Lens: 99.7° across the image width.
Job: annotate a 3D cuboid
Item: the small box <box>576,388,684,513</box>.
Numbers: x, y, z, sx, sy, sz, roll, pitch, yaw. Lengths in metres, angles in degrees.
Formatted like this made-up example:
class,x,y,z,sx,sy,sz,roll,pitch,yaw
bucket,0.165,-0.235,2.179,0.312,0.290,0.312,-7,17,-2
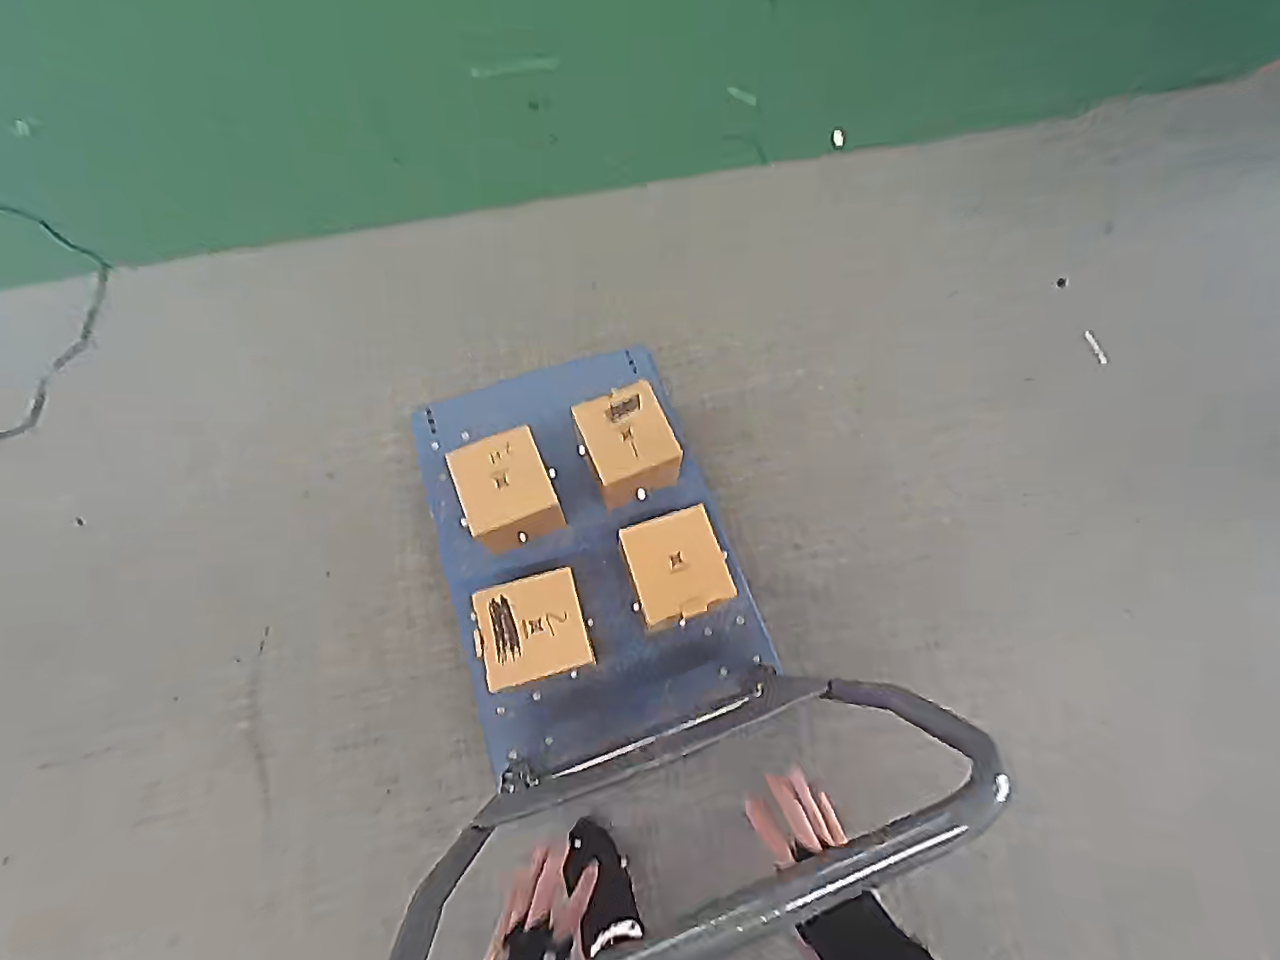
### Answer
class,x,y,z,sx,sy,sz,roll,pitch,yaw
small box,-0.024,-0.056,1.117,0.168,0.176,0.179,-21,72,-8

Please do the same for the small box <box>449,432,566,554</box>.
class,x,y,z,sx,sy,sz,roll,pitch,yaw
small box,-0.255,0.036,1.077,0.168,0.176,0.179,-21,71,-10

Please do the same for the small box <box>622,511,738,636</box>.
class,x,y,z,sx,sy,sz,roll,pitch,yaw
small box,0.065,0.184,1.029,0.168,0.176,0.179,-17,71,-8
